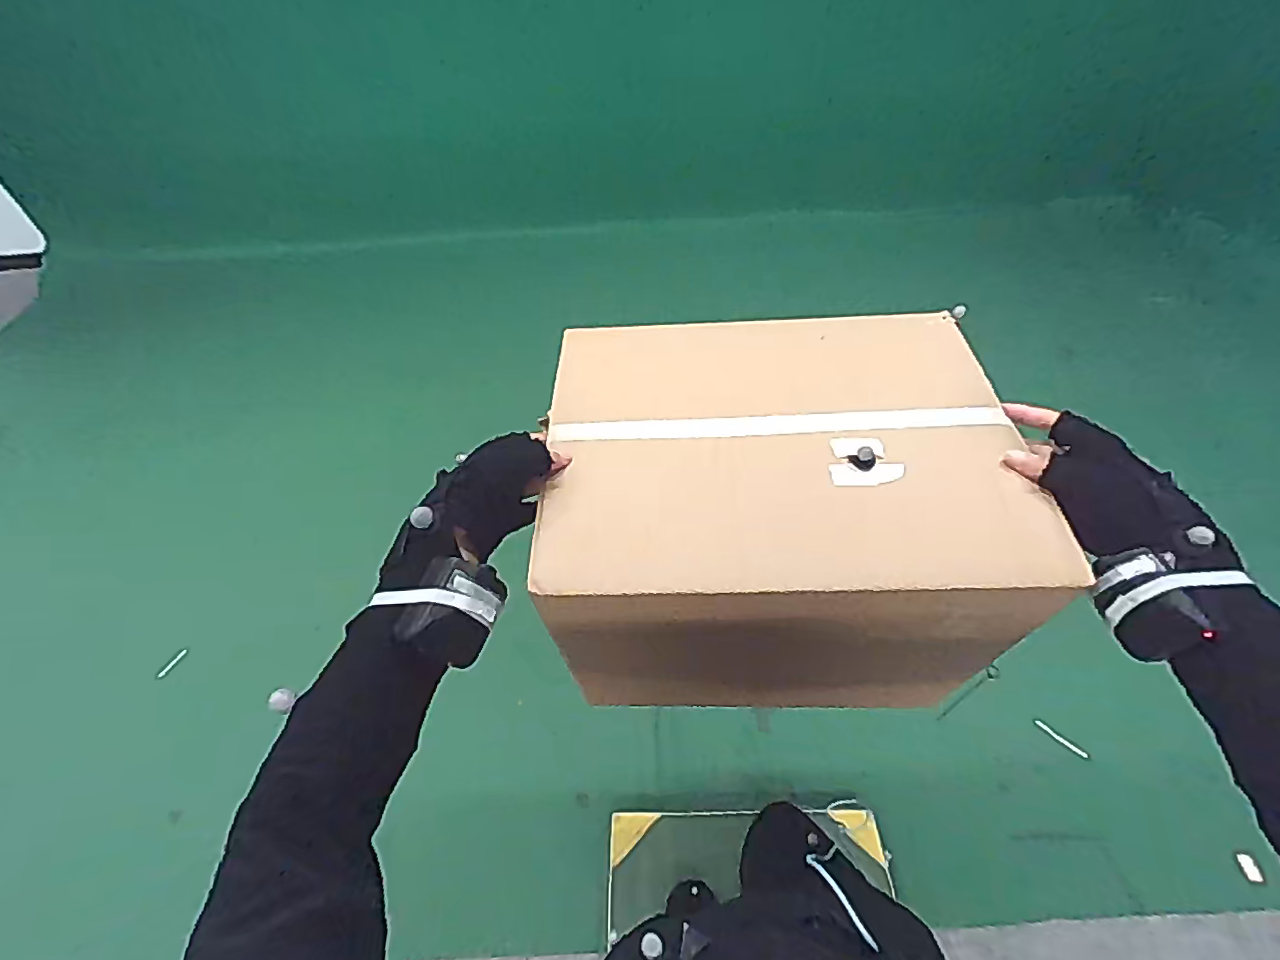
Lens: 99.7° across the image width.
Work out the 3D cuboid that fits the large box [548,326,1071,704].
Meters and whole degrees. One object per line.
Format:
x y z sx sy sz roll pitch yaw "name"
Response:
0.131 0.051 0.615 0.408 0.320 0.320 -1 53 3 "large box"
